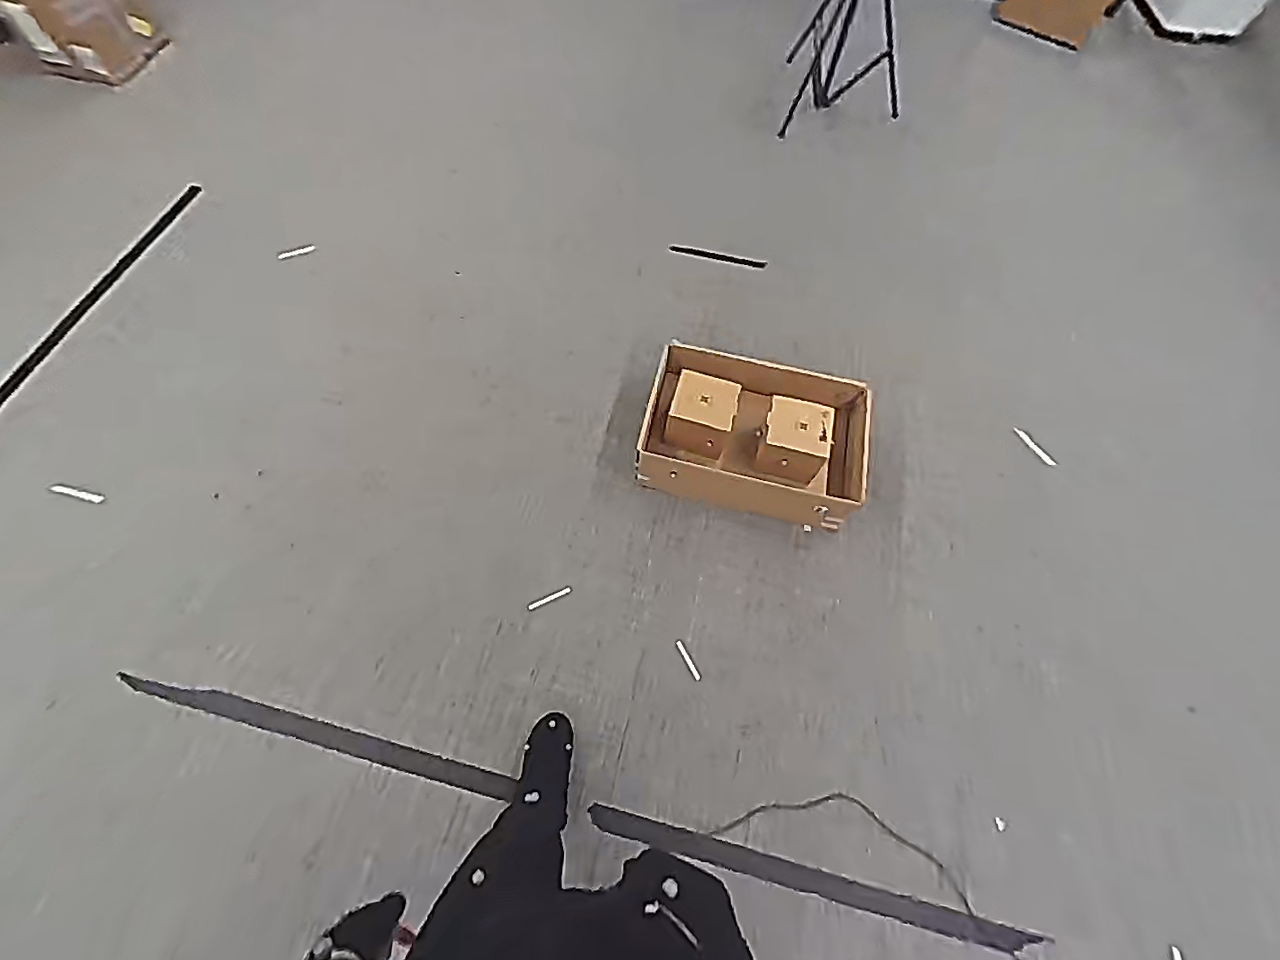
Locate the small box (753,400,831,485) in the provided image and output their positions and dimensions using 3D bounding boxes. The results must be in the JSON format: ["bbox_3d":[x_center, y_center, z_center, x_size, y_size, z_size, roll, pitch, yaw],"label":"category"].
[{"bbox_3d":[0.430,-0.102,1.554,0.179,0.176,0.168,12,65,6],"label":"small box"}]

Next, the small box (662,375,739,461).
[{"bbox_3d":[0.173,-0.173,1.574,0.179,0.176,0.168,15,64,5],"label":"small box"}]
